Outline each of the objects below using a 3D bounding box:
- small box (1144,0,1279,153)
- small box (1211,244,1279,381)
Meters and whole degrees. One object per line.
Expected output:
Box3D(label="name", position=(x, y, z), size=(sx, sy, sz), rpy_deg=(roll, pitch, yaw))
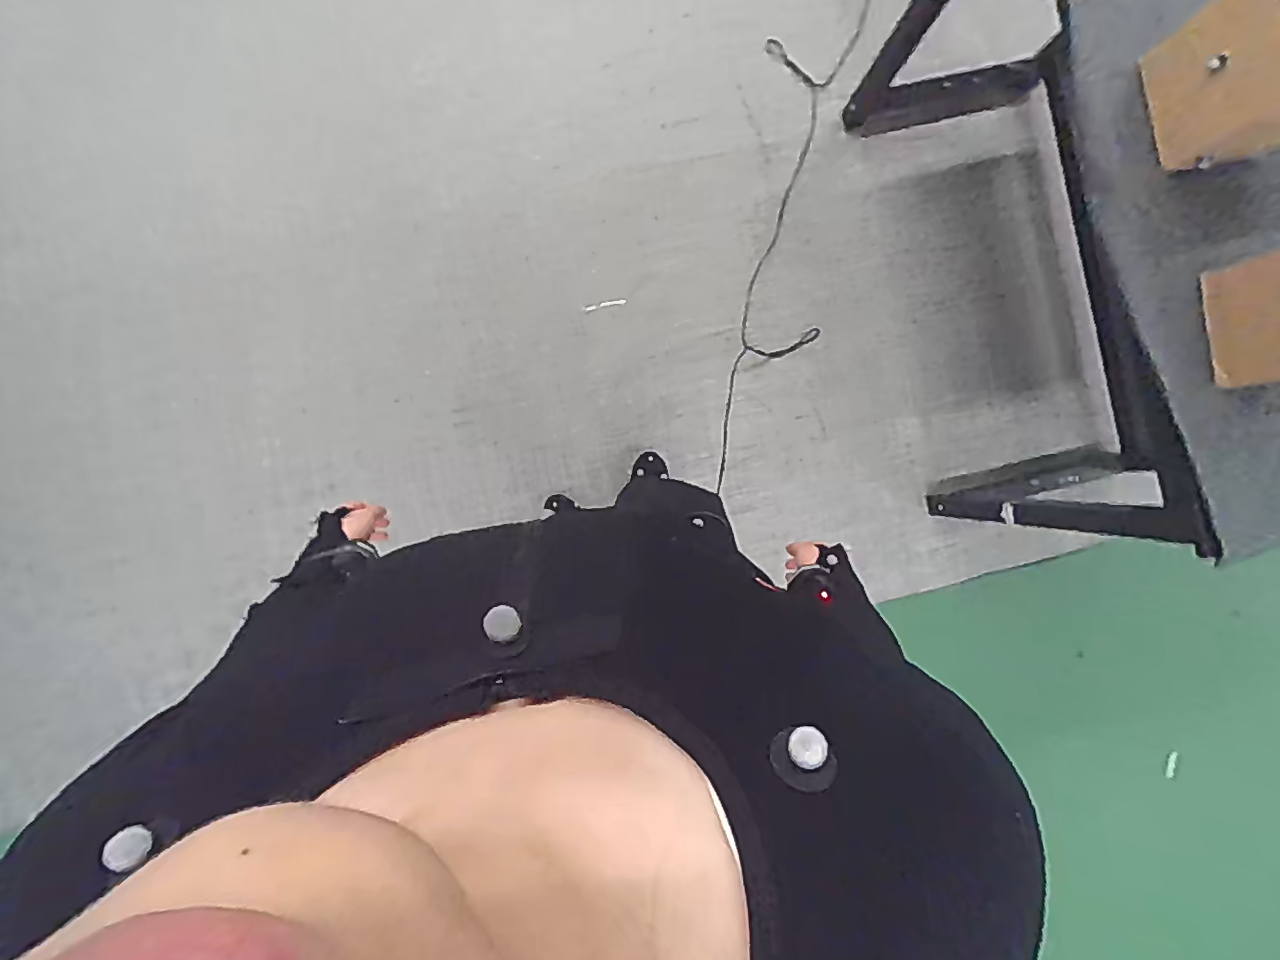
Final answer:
Box3D(label="small box", position=(0.839, -0.569, 0.720), size=(0.168, 0.176, 0.179), rpy_deg=(-13, 89, -5))
Box3D(label="small box", position=(0.936, -0.243, 0.728), size=(0.168, 0.176, 0.179), rpy_deg=(-10, 92, -3))
